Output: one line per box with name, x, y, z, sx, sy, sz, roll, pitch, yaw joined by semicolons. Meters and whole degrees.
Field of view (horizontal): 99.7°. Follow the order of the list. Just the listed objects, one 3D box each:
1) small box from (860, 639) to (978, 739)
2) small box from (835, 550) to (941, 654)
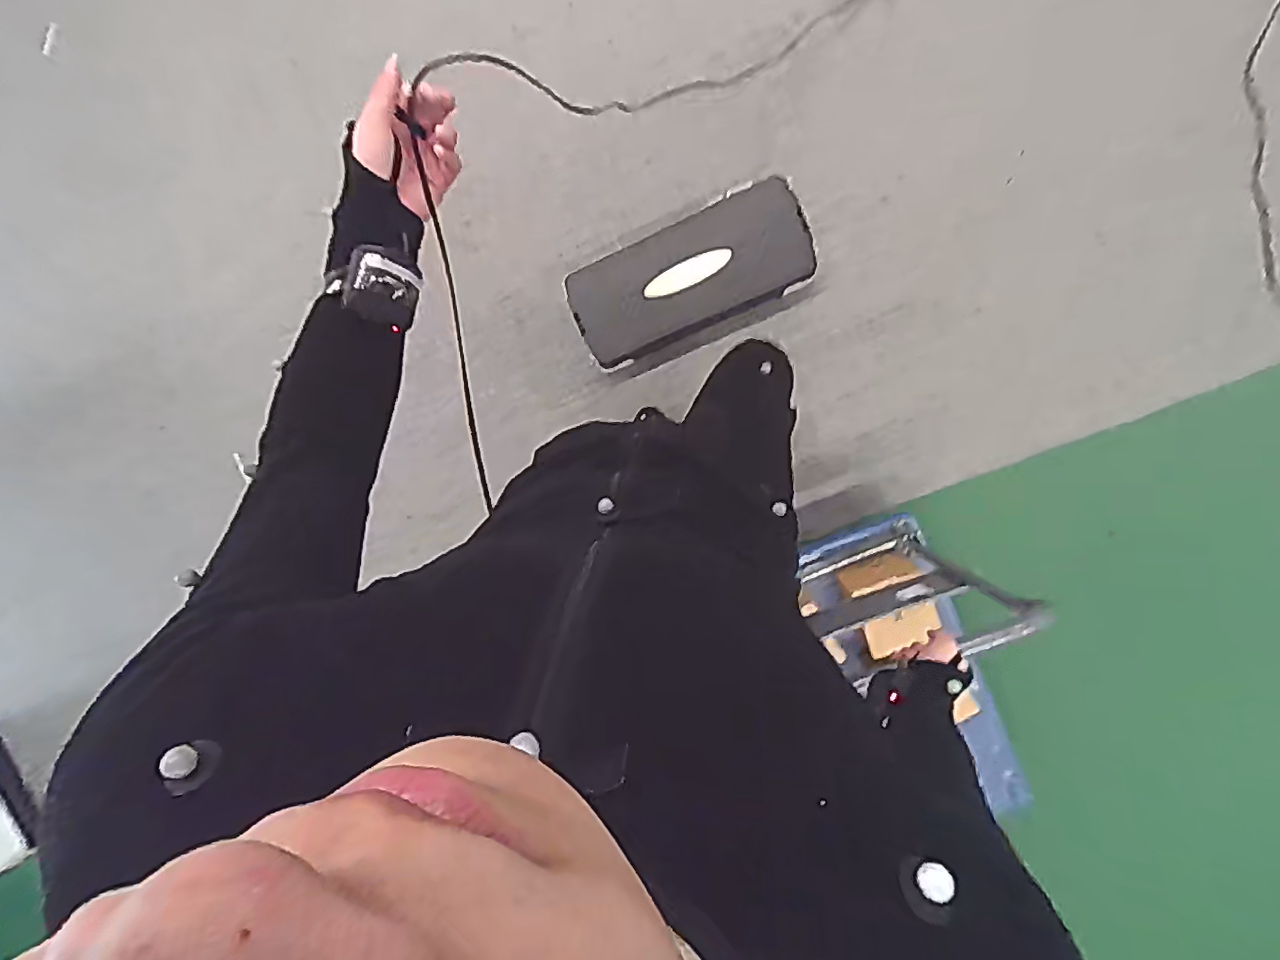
small box;0.680;0.492;1.344;0.168;0.176;0.179;-36;93;10
small box;0.601;0.293;1.328;0.168;0.176;0.179;-20;95;9
